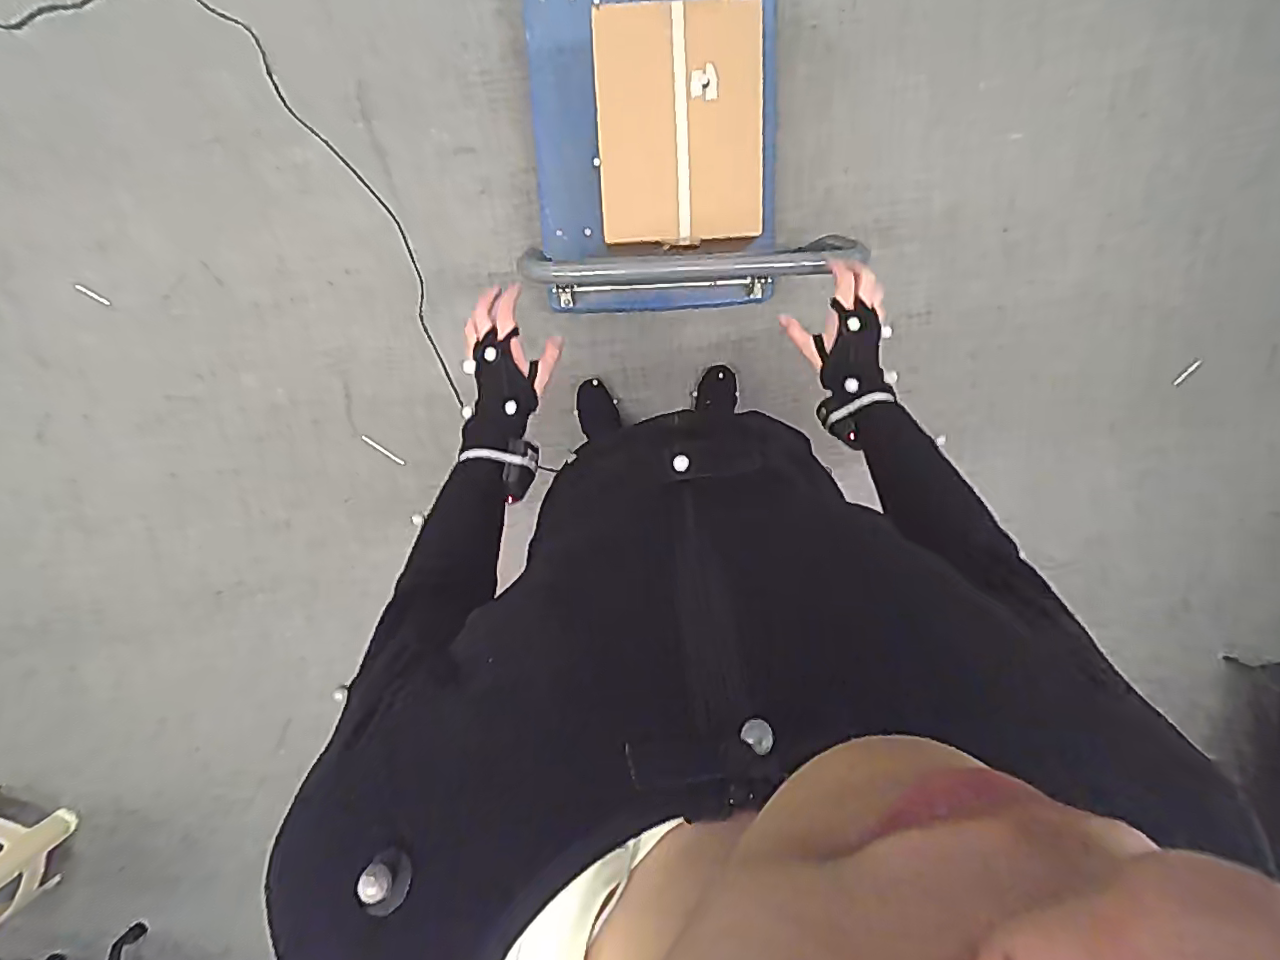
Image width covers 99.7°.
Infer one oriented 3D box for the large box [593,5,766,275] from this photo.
[{"bbox_3d":[0.078,-0.683,1.159,0.320,0.320,0.408,-3,101,-1],"label":"large box"}]
